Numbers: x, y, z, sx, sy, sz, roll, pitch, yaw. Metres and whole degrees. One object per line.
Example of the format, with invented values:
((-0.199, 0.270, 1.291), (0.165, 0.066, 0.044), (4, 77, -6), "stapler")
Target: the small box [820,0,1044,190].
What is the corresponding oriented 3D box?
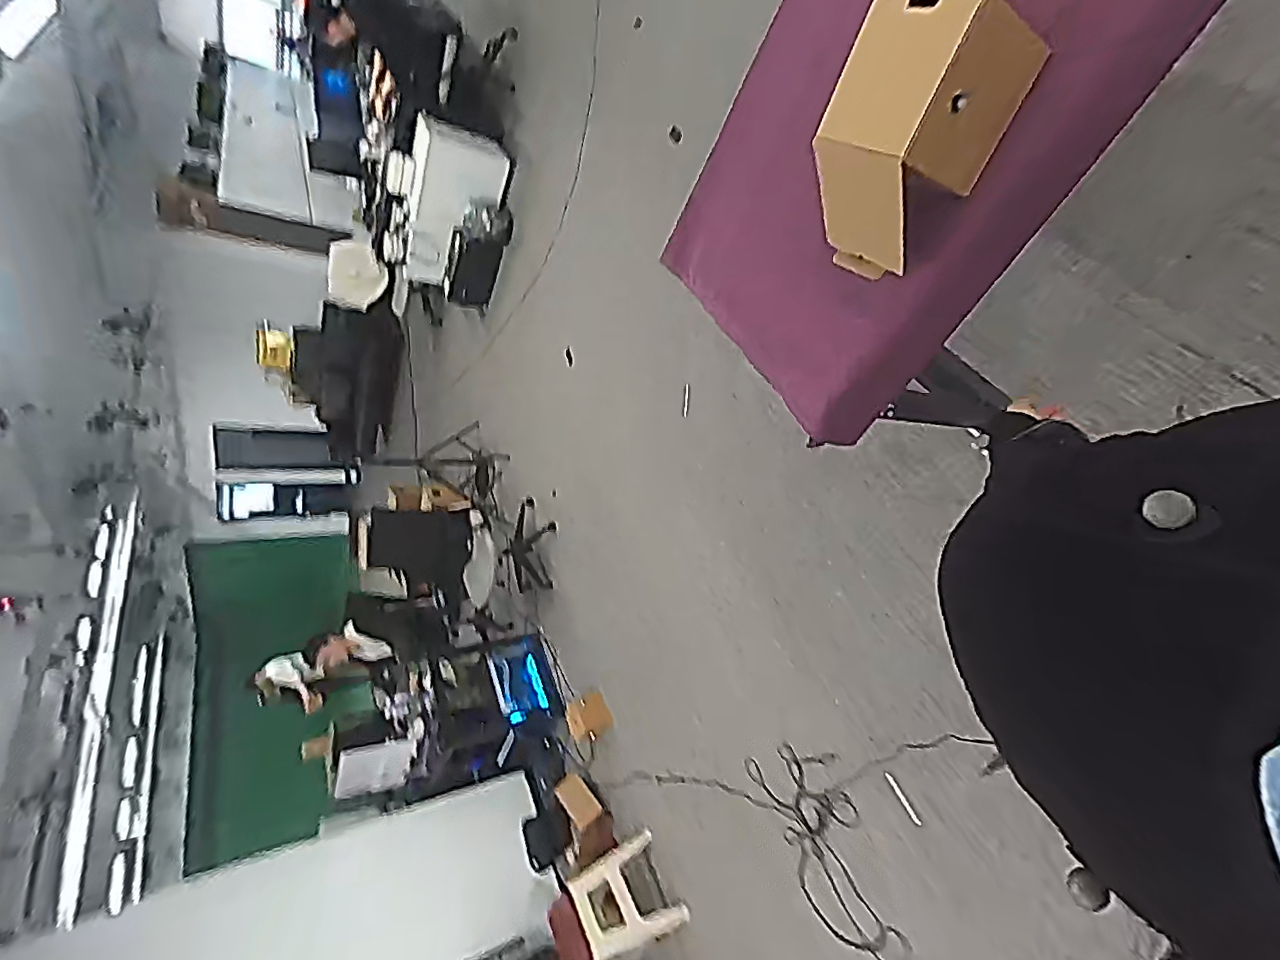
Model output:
((0.387, -0.516, 0.725), (0.168, 0.176, 0.179), (53, 132, 42), "small box")
